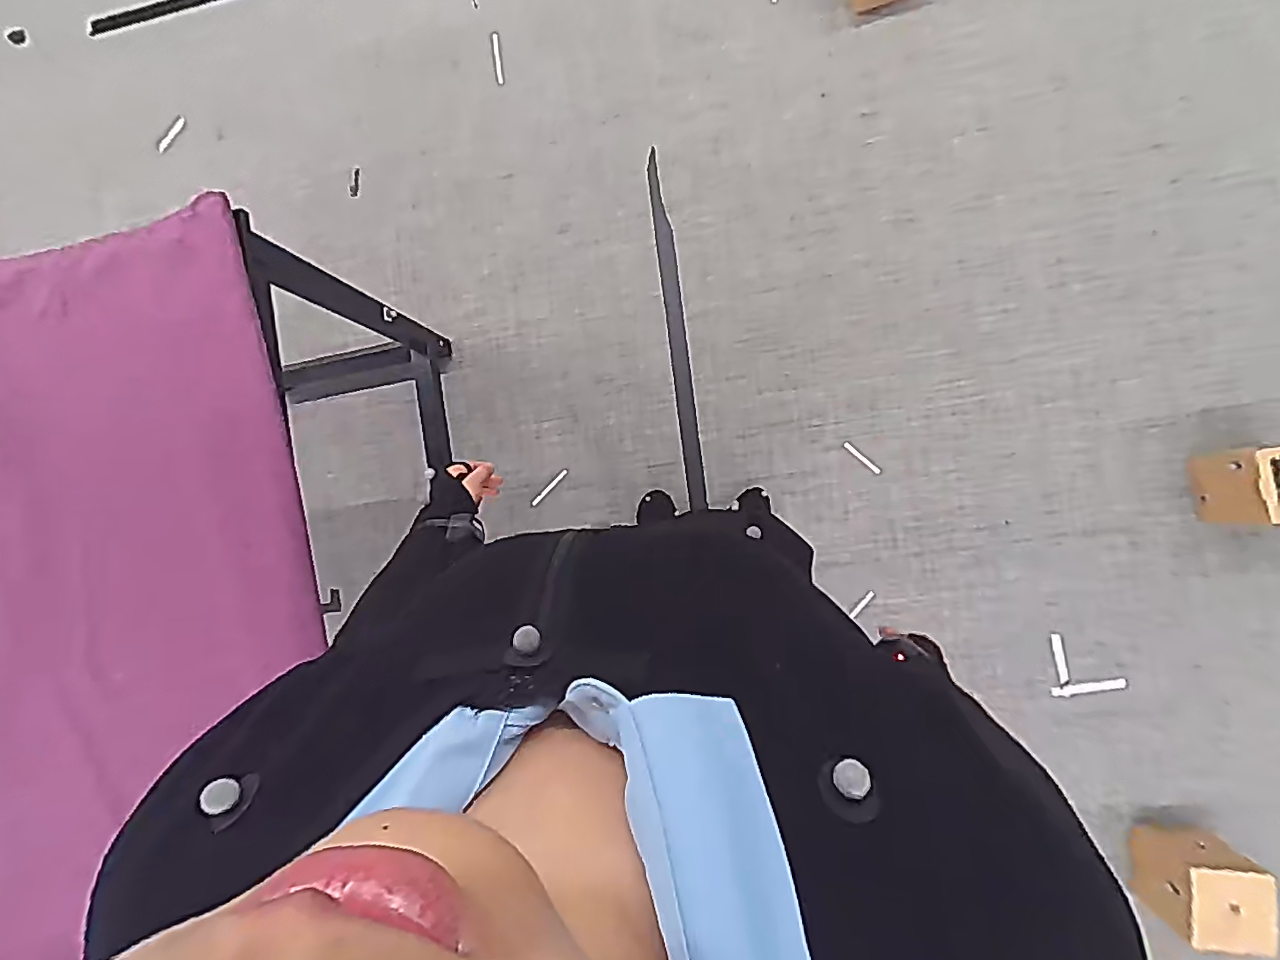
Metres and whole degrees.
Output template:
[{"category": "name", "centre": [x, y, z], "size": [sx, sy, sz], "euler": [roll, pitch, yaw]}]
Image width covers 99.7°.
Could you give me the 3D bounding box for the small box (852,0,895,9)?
[{"category": "small box", "centre": [0.633, -1.362, 1.382], "size": [0.168, 0.176, 0.179], "euler": [-15, 87, 7]}]

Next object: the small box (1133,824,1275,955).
[{"category": "small box", "centre": [1.294, 0.937, 1.253], "size": [0.168, 0.176, 0.179], "euler": [1, 89, 8]}]
